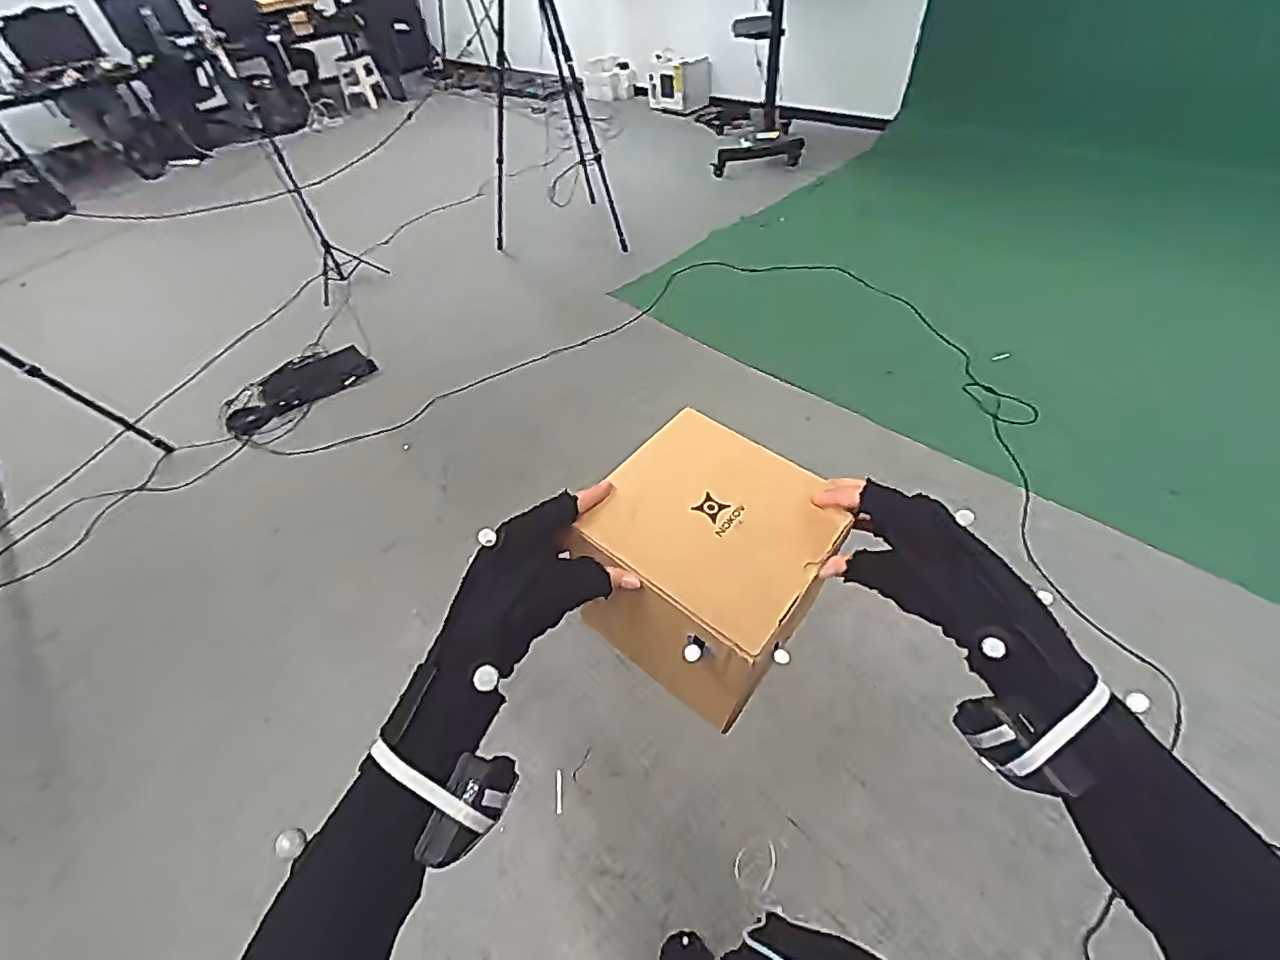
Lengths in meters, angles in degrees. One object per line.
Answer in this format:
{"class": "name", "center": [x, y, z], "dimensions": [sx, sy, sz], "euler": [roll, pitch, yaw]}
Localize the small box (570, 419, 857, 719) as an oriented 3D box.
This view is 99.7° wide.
{"class": "small box", "center": [0.057, 0.082, 0.492], "dimensions": [0.179, 0.176, 0.168], "euler": [33, 56, 23]}
